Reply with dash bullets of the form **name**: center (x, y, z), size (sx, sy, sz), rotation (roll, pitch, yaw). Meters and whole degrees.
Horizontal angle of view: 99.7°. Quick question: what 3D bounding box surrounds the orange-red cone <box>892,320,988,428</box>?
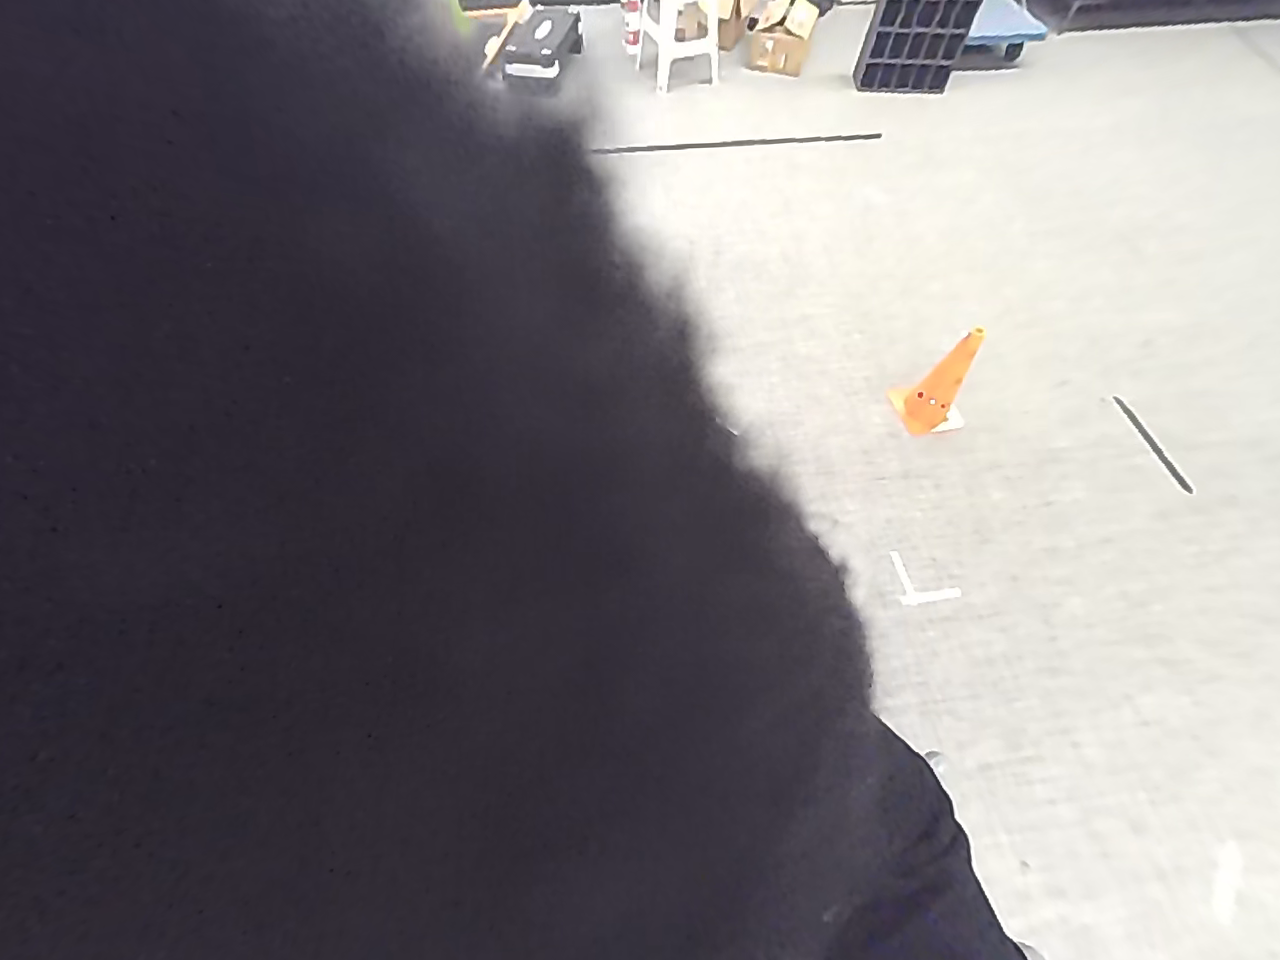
- **orange-red cone**: center (0.975, -0.352, 1.690), size (0.198, 0.360, 0.199), rotation (-9, 57, -6)
